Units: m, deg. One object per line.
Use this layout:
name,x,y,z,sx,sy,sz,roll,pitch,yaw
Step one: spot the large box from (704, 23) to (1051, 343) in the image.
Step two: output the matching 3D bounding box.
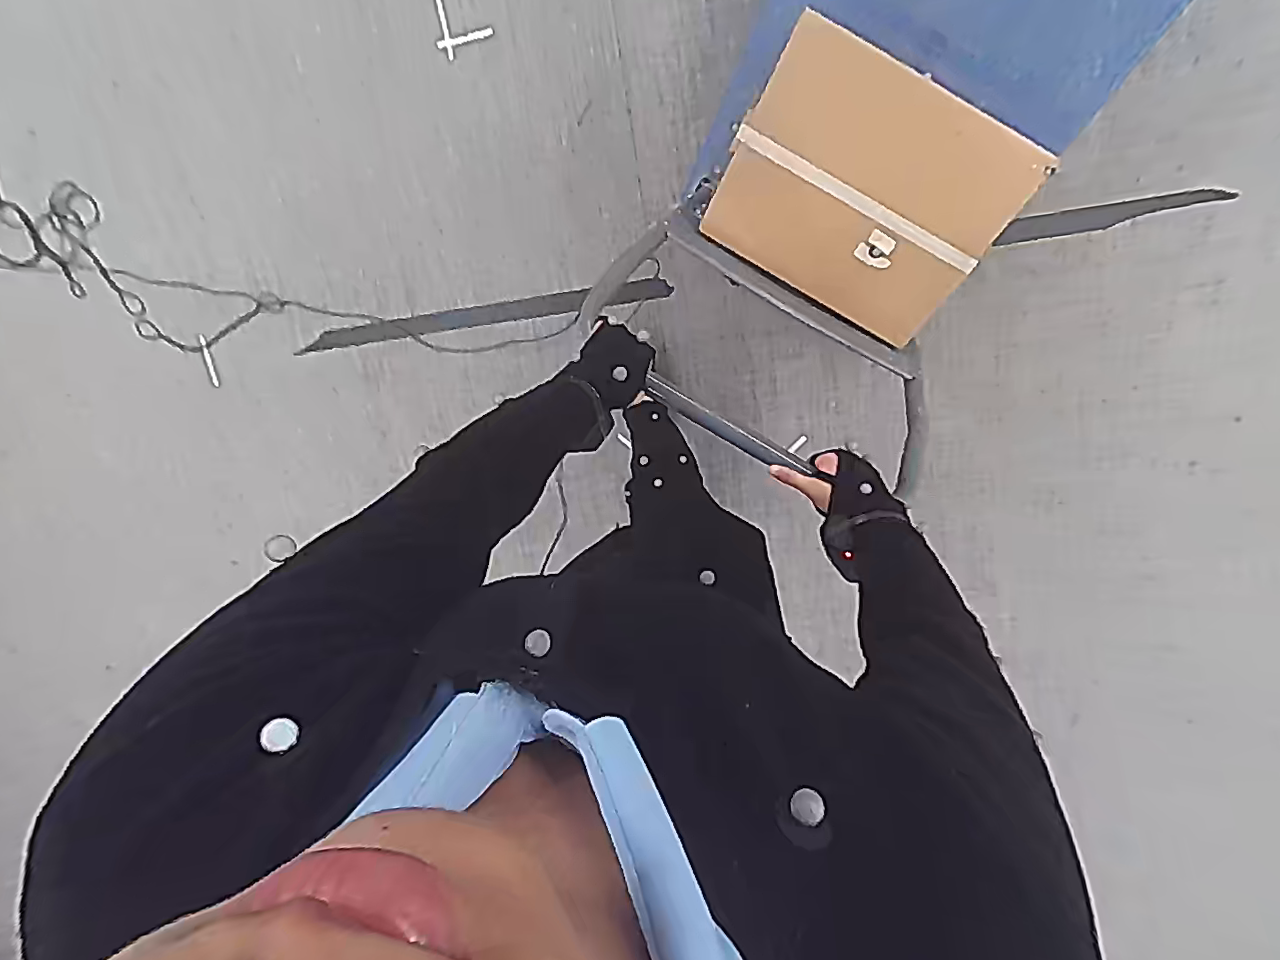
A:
large box,0.378,-0.513,0.951,0.408,0.320,0.320,29,129,-1
